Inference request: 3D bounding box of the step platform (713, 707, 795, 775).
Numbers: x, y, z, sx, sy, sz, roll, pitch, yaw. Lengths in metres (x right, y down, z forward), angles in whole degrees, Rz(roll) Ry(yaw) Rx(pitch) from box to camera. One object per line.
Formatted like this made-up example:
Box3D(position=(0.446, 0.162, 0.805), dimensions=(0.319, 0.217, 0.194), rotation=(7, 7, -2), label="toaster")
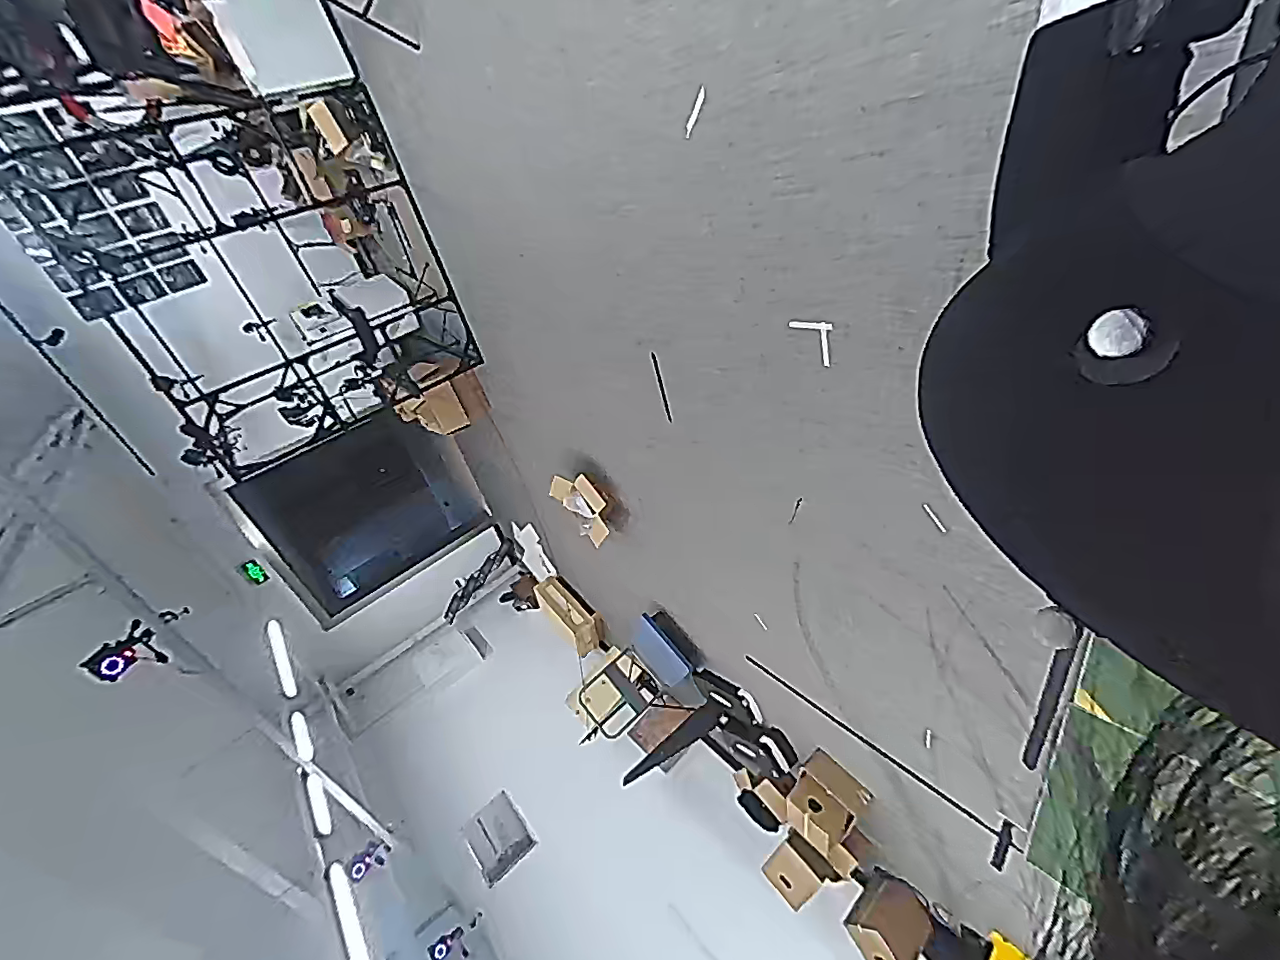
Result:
Box3D(position=(0.852, 1.992, 4.148), dimensions=(0.286, 0.204, 0.684), rotation=(59, 153, -7), label="step platform")
